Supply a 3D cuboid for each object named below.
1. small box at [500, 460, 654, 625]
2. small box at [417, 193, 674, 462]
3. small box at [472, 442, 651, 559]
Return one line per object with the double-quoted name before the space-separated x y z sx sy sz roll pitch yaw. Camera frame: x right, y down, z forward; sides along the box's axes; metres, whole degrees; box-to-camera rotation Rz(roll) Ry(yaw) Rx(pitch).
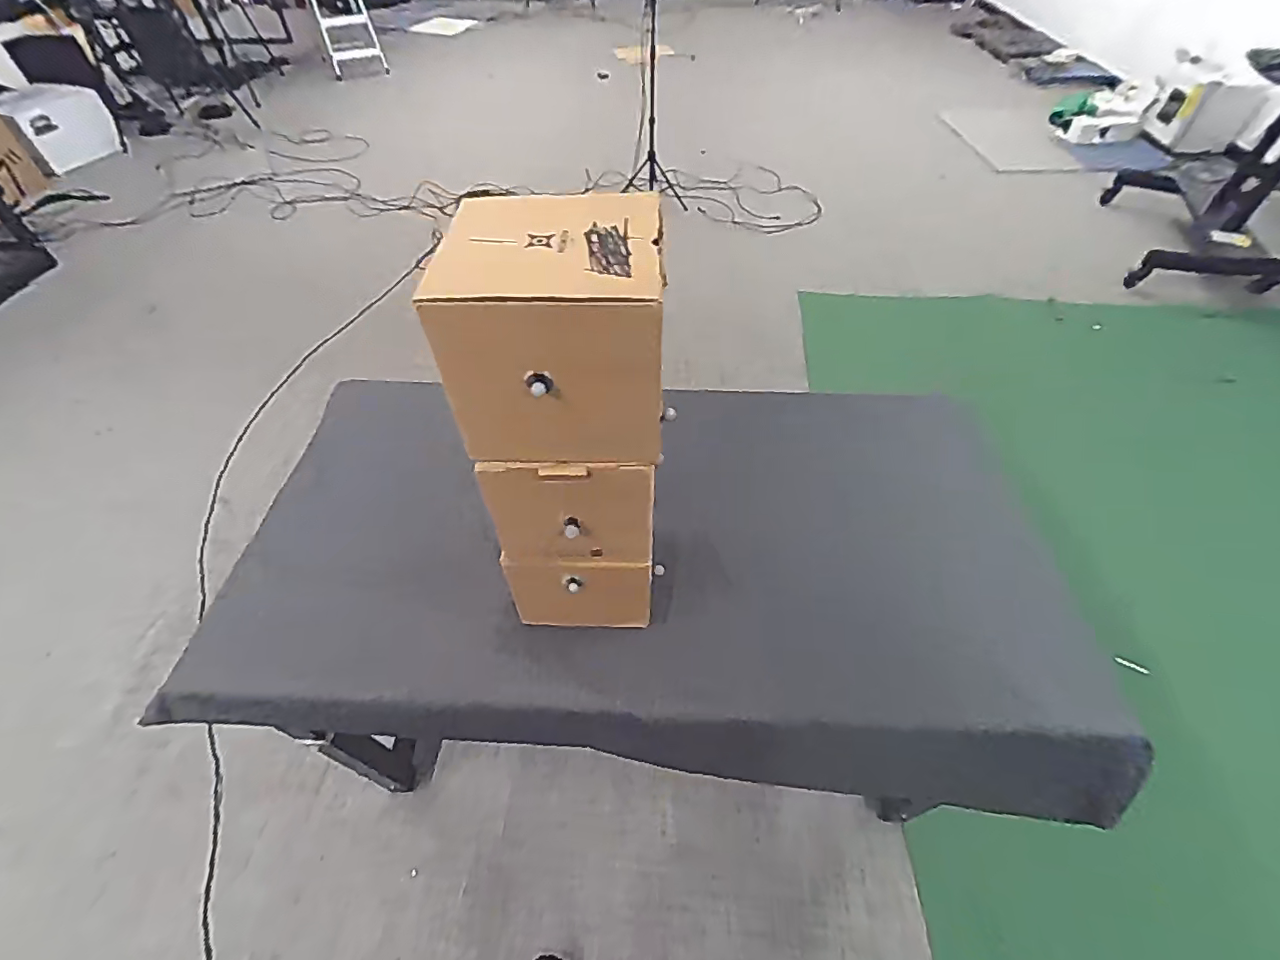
"small box" -0.072 0.084 0.727 0.179 0.176 0.168 2 51 0
"small box" -0.067 -0.129 0.477 0.179 0.176 0.168 -1 51 -2
"small box" -0.071 -0.024 0.605 0.168 0.176 0.179 0 51 0
